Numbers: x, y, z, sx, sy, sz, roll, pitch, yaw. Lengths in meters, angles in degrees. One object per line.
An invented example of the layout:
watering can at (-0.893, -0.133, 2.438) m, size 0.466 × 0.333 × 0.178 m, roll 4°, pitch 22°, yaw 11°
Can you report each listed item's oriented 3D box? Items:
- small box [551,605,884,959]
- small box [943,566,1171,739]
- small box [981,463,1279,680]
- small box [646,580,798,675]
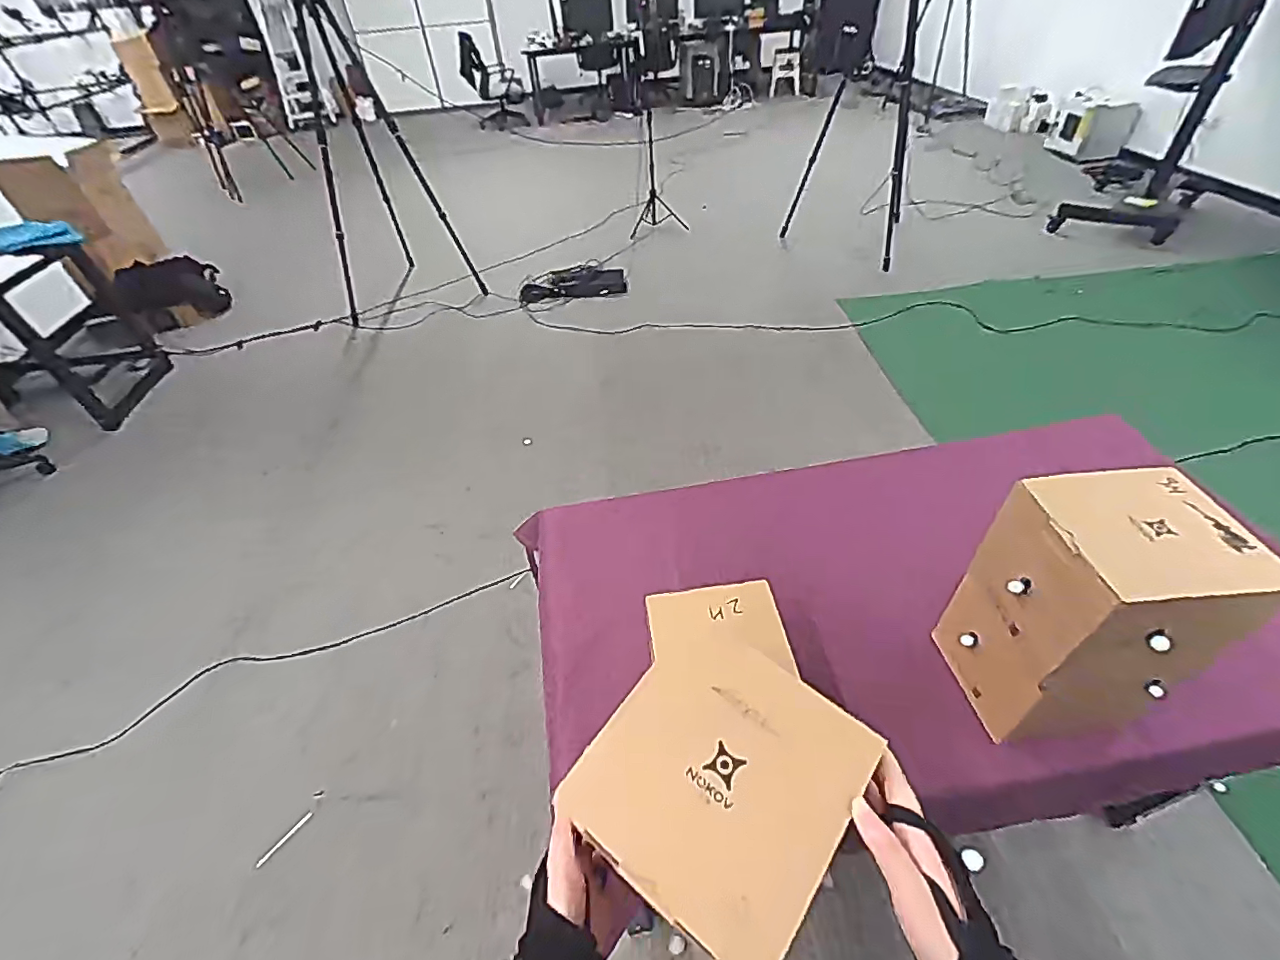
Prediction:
small box at (0.058, 0.242, 0.434) m, size 0.168 × 0.176 × 0.179 m, roll 34°, pitch 62°, yaw 23°
small box at (0.529, 0.217, 0.708) m, size 0.179 × 0.176 × 0.168 m, roll -8°, pitch 44°, yaw -3°
small box at (0.510, 0.103, 0.591) m, size 0.179 × 0.176 × 0.168 m, roll -5°, pitch 44°, yaw 1°
small box at (0.103, 0.259, 0.709) m, size 0.168 × 0.176 × 0.179 m, roll -7°, pitch 44°, yaw -2°
